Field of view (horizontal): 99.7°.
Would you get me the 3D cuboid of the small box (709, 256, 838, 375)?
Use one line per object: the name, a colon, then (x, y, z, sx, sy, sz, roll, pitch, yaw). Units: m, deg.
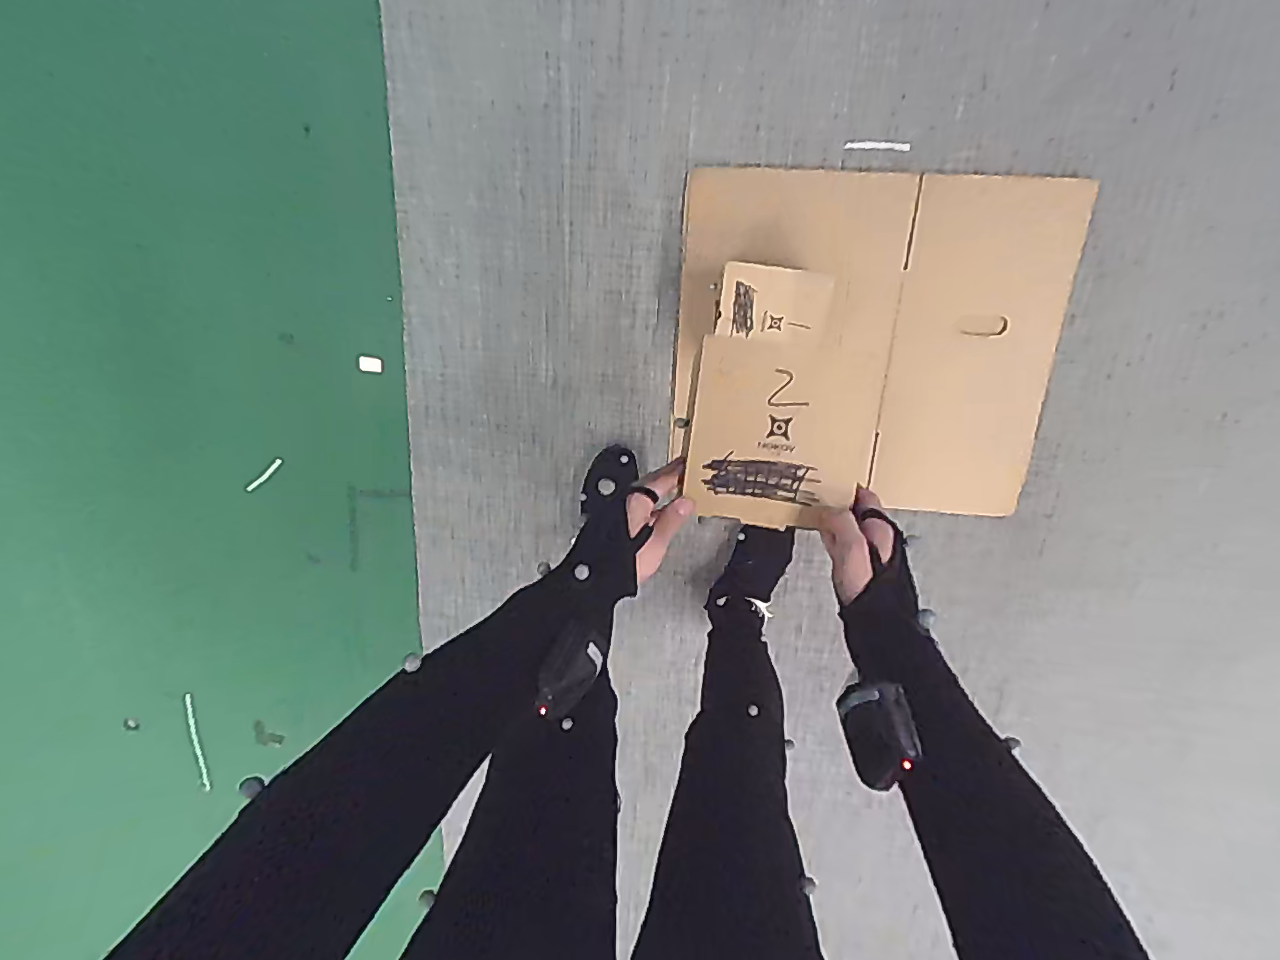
small box: (0.217, -0.281, 0.936, 0.179, 0.176, 0.168, 8, 108, 3)
